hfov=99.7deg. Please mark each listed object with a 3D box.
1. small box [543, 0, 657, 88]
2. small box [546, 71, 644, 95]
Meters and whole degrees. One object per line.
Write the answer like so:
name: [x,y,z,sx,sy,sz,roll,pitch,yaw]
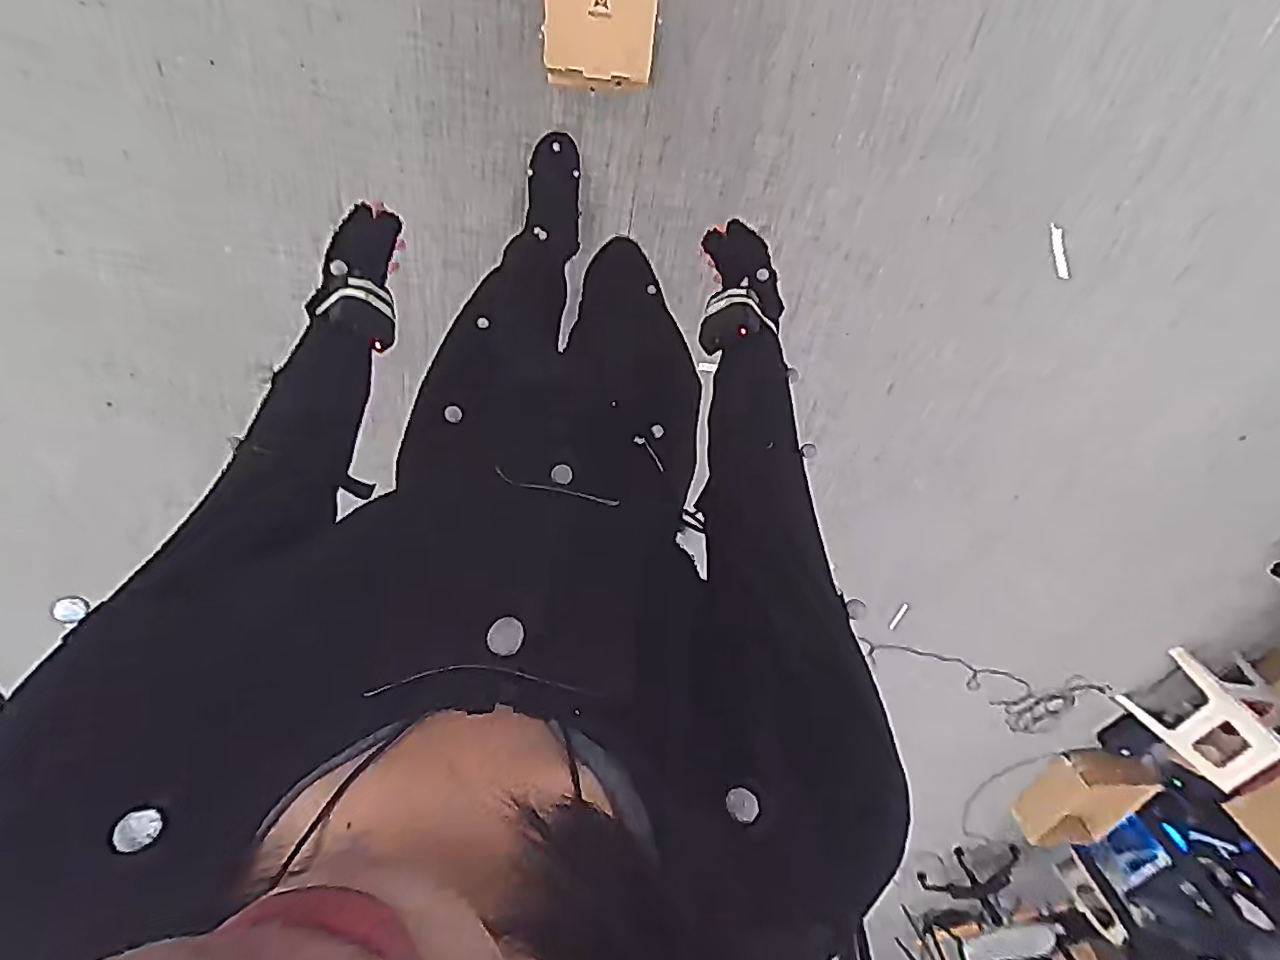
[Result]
small box: [-0.064,-0.739,0.855,0.168,0.176,0.179,3,122,-8]
small box: [-0.081,-0.818,0.996,0.179,0.176,0.168,1,123,-4]
